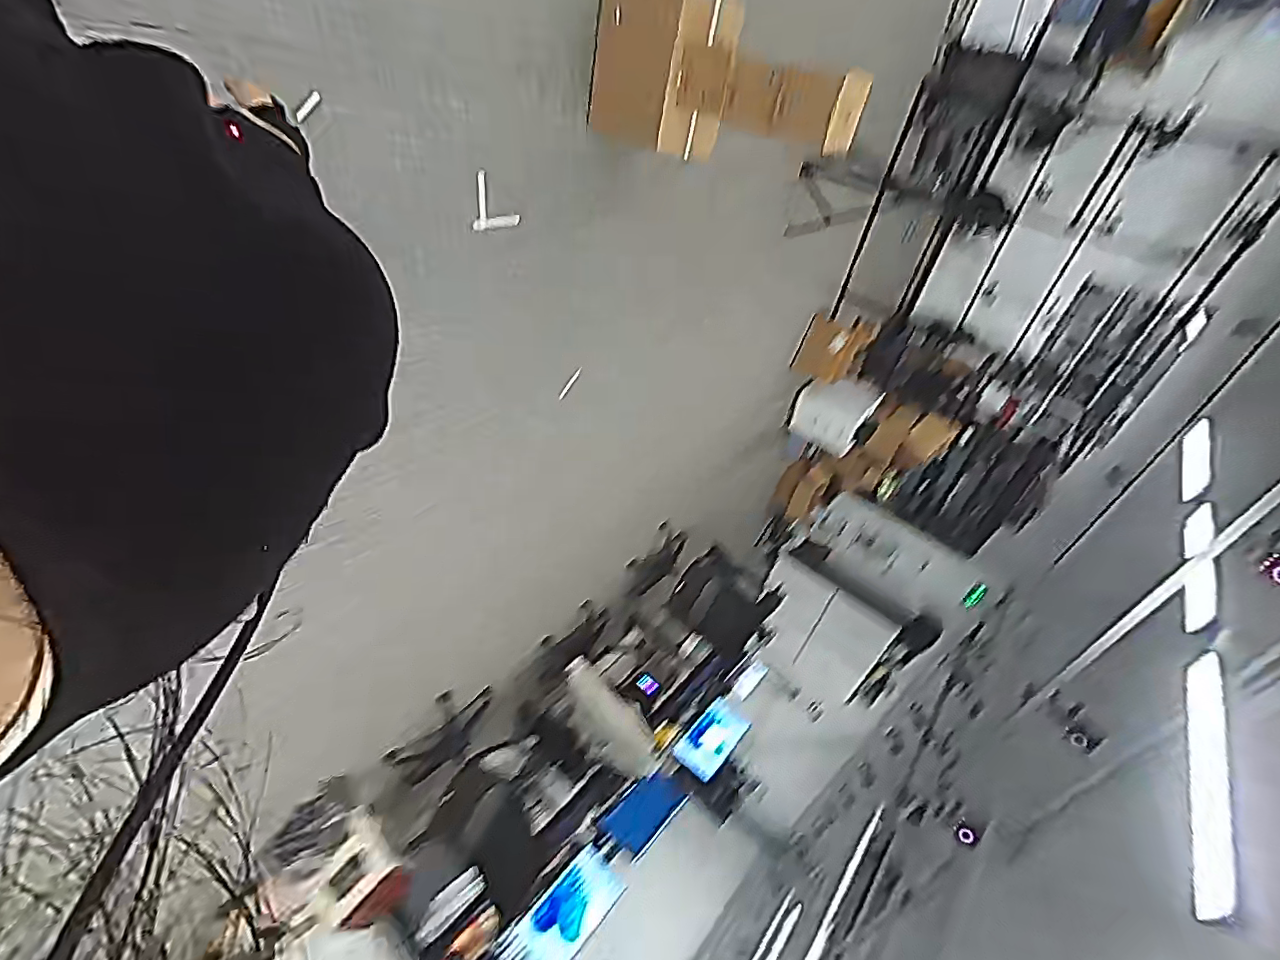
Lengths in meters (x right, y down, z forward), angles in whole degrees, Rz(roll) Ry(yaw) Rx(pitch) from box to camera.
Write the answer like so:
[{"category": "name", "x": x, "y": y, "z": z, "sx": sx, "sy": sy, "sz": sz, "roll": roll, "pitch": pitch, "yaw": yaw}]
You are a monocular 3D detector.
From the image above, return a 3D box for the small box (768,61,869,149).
[{"category": "small box", "x": 0.471, "y": -0.994, "z": 1.438, "sx": 0.179, "sy": 0.176, "sz": 0.168, "roll": -32, "pitch": 145, "yaw": -40}]

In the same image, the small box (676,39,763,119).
[{"category": "small box", "x": 0.225, "y": -1.166, "z": 1.574, "sx": 0.179, "sy": 0.176, "sz": 0.168, "roll": -34, "pitch": 147, "yaw": -39}]
